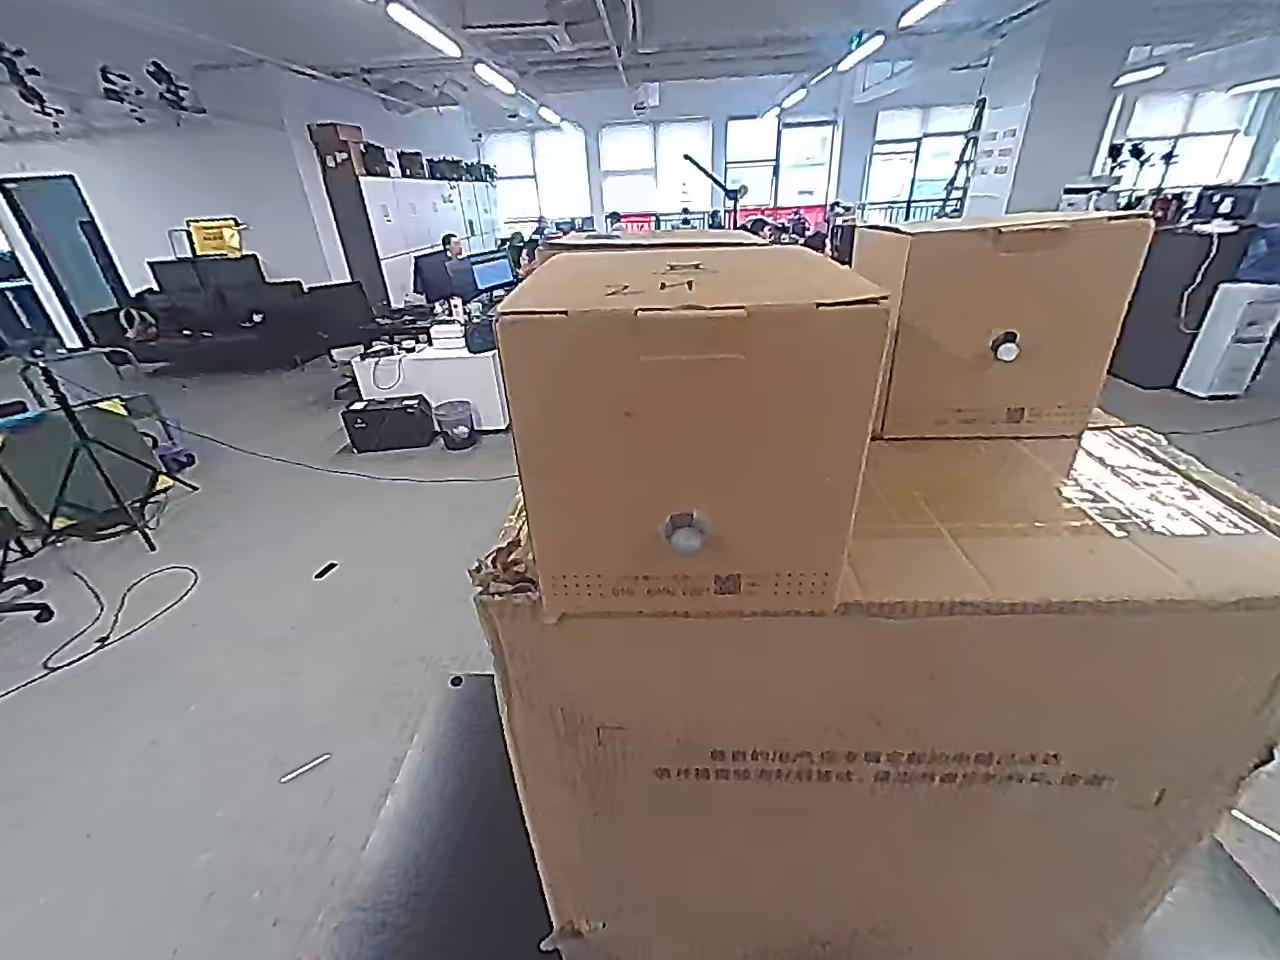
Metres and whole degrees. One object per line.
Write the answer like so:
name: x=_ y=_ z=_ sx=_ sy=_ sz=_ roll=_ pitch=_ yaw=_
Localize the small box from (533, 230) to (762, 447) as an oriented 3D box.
small box: x=0.012 y=-0.136 z=0.507 sx=0.179 sy=0.176 sz=0.168 roll=0 pitch=27 yaw=3
